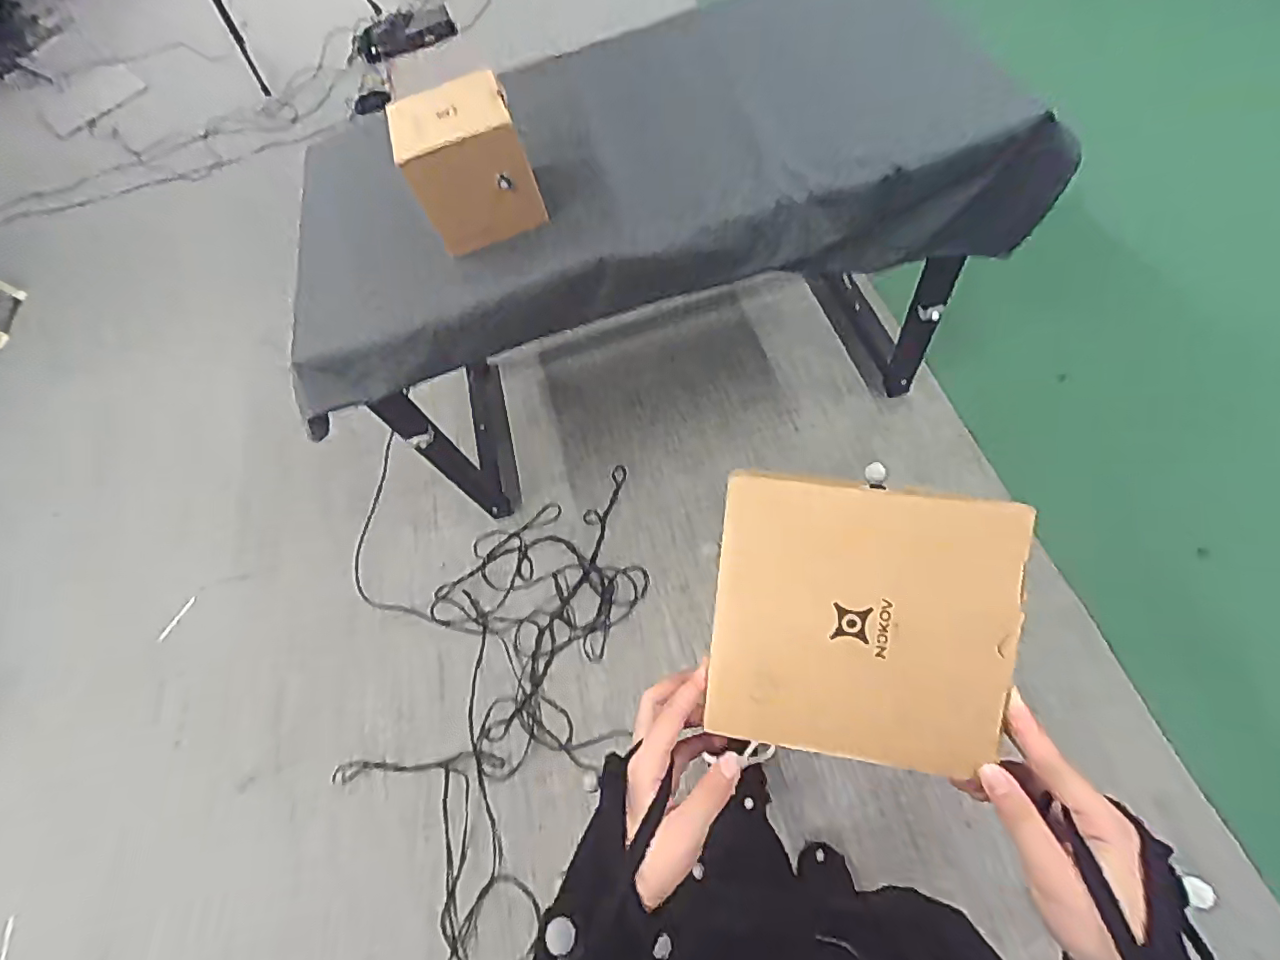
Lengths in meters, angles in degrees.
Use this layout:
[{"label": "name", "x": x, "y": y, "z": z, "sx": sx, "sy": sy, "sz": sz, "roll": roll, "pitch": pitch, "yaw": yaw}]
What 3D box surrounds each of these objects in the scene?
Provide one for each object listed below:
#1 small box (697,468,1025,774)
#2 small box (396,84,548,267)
[{"label": "small box", "x": 0.144, "y": 0.082, "z": 0.408, "sx": 0.179, "sy": 0.176, "sz": 0.168, "roll": 6, "pitch": 92, "yaw": 10}, {"label": "small box", "x": -0.261, "y": -0.482, "z": 0.869, "sx": 0.179, "sy": 0.176, "sz": 0.168, "roll": -21, "pitch": 60, "yaw": 2}]
